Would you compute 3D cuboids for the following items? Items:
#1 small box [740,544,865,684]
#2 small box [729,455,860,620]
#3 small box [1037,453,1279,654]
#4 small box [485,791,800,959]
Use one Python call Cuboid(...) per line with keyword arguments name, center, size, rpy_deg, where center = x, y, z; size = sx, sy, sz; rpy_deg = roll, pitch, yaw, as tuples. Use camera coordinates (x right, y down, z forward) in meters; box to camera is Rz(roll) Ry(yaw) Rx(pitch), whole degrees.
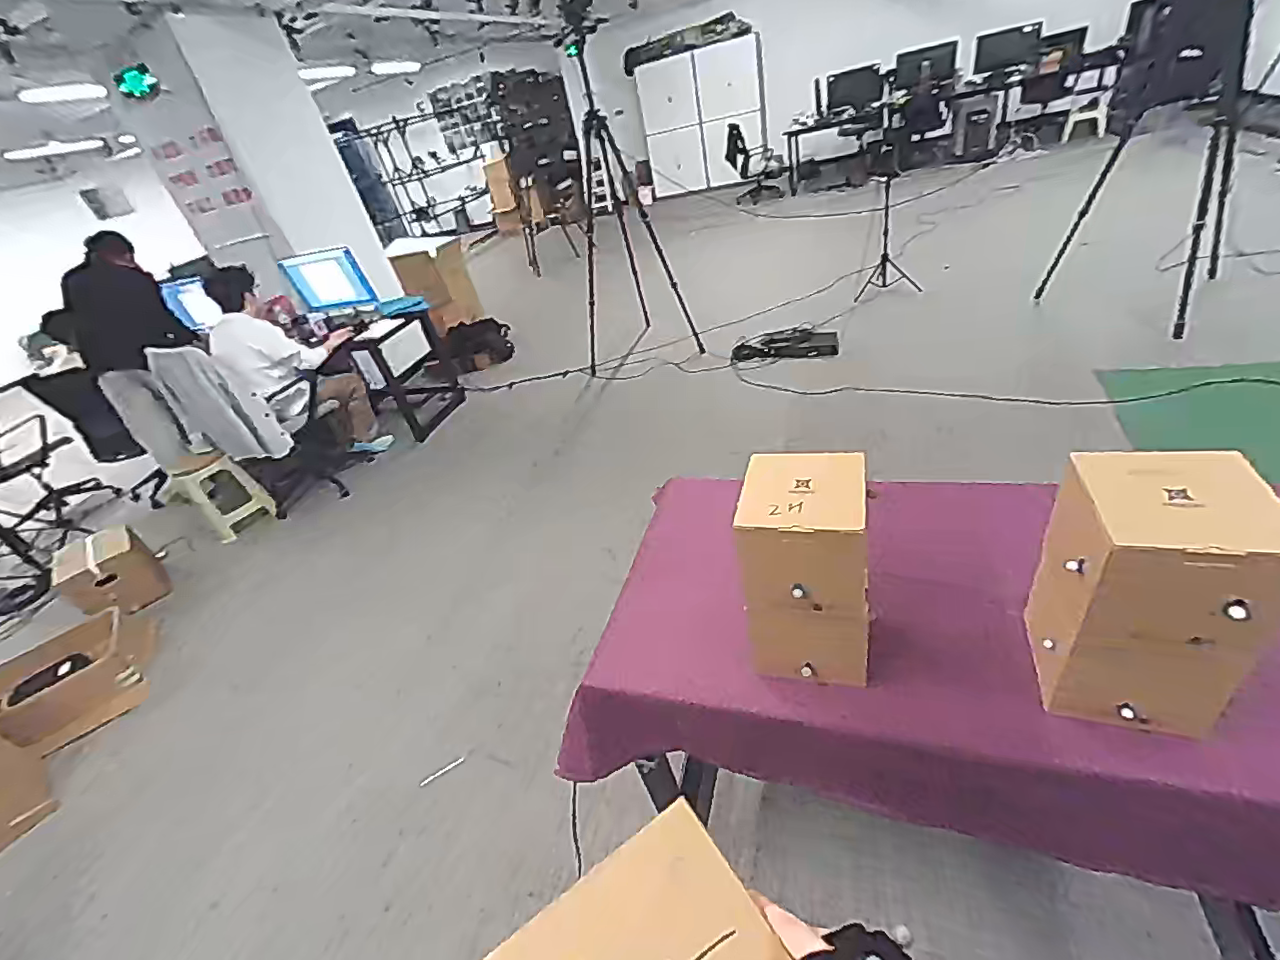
Cuboid(name="small box", center=(0.270, 0.213, 0.892), size=(0.179, 0.176, 0.168), rpy_deg=(0, 37, 20))
Cuboid(name="small box", center=(0.236, 0.078, 0.802), size=(0.168, 0.176, 0.179), rpy_deg=(0, 38, 22))
Cuboid(name="small box", center=(0.610, 0.085, 0.654), size=(0.168, 0.176, 0.179), rpy_deg=(1, 38, 22))
Cuboid(name="small box", center=(0.014, 0.381, 0.401), size=(0.179, 0.176, 0.168), rpy_deg=(-27, 50, -22))
